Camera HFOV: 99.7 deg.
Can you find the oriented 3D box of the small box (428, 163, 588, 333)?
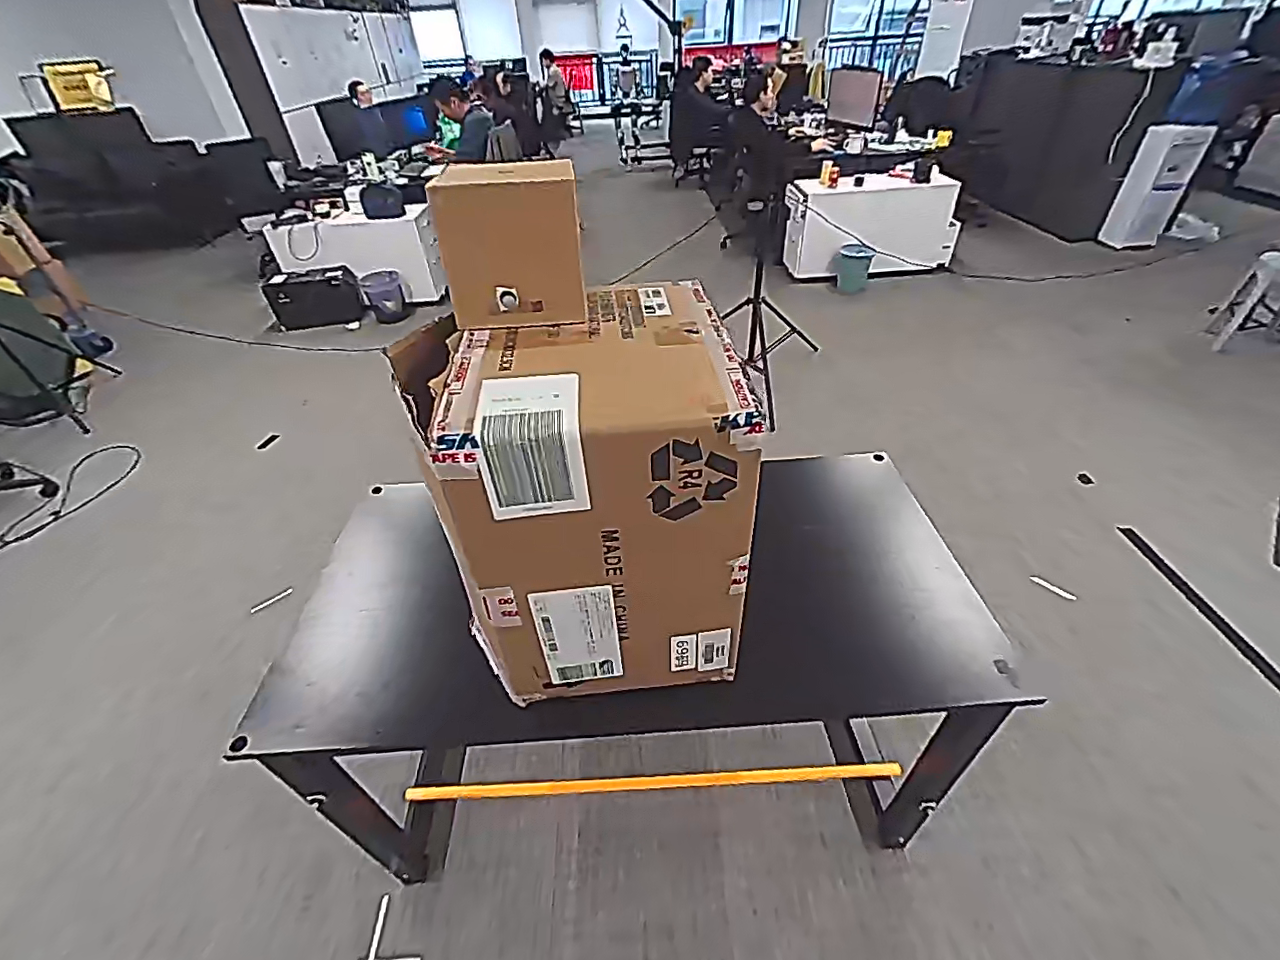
[{"bbox_3d":[-0.160,-0.308,0.712,0.168,0.176,0.179,-7,38,-5],"label":"small box"}]
